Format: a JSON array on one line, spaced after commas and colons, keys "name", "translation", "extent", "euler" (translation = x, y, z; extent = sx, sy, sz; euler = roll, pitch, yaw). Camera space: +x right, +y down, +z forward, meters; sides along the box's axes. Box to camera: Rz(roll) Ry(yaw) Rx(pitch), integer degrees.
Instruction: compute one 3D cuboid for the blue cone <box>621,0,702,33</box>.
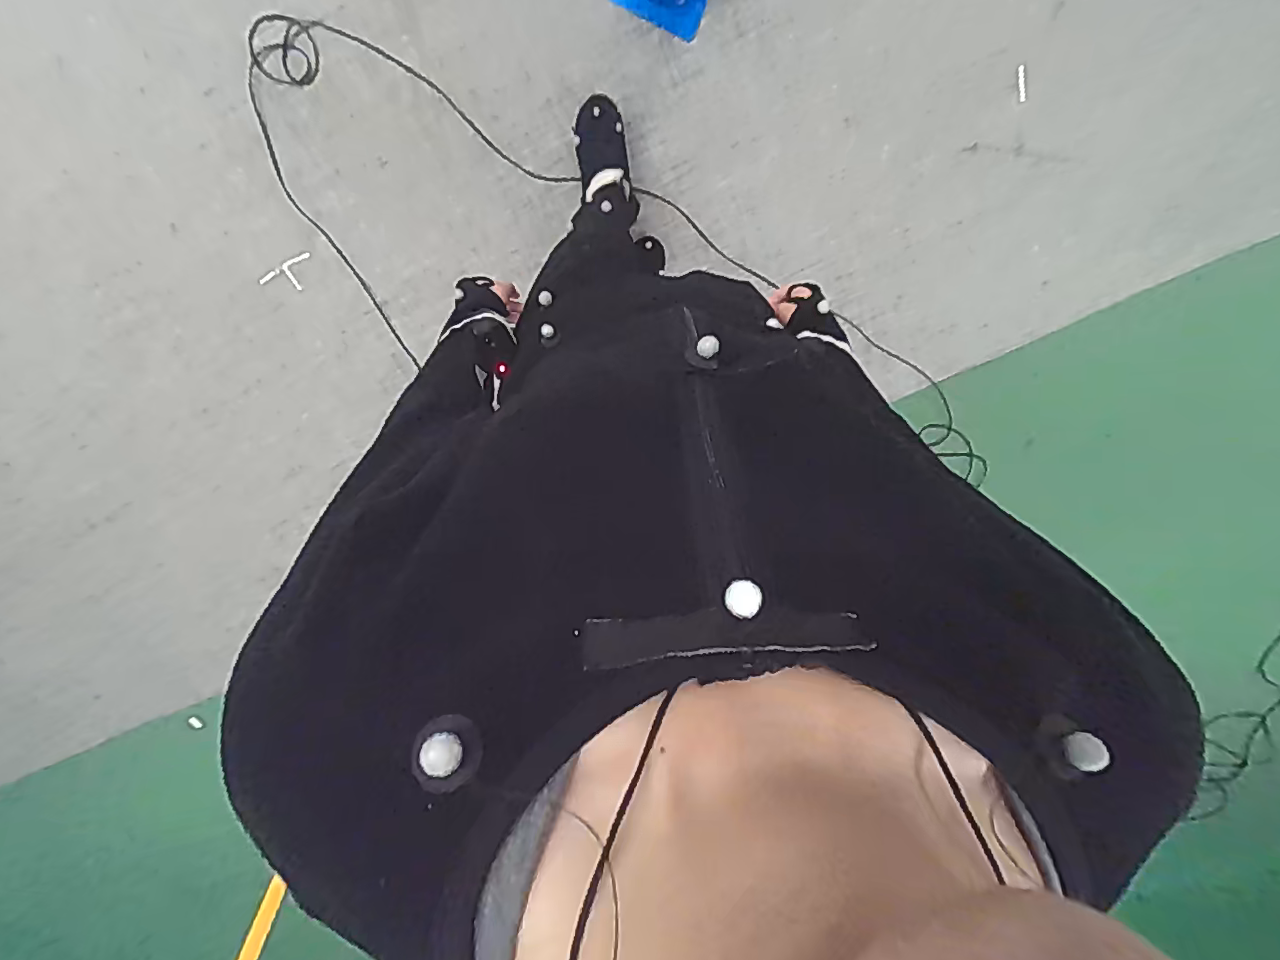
[{"name": "blue cone", "translation": [0.063, -0.944, 0.906], "extent": [0.192, 0.380, 0.193], "euler": [18, 113, -10]}]
